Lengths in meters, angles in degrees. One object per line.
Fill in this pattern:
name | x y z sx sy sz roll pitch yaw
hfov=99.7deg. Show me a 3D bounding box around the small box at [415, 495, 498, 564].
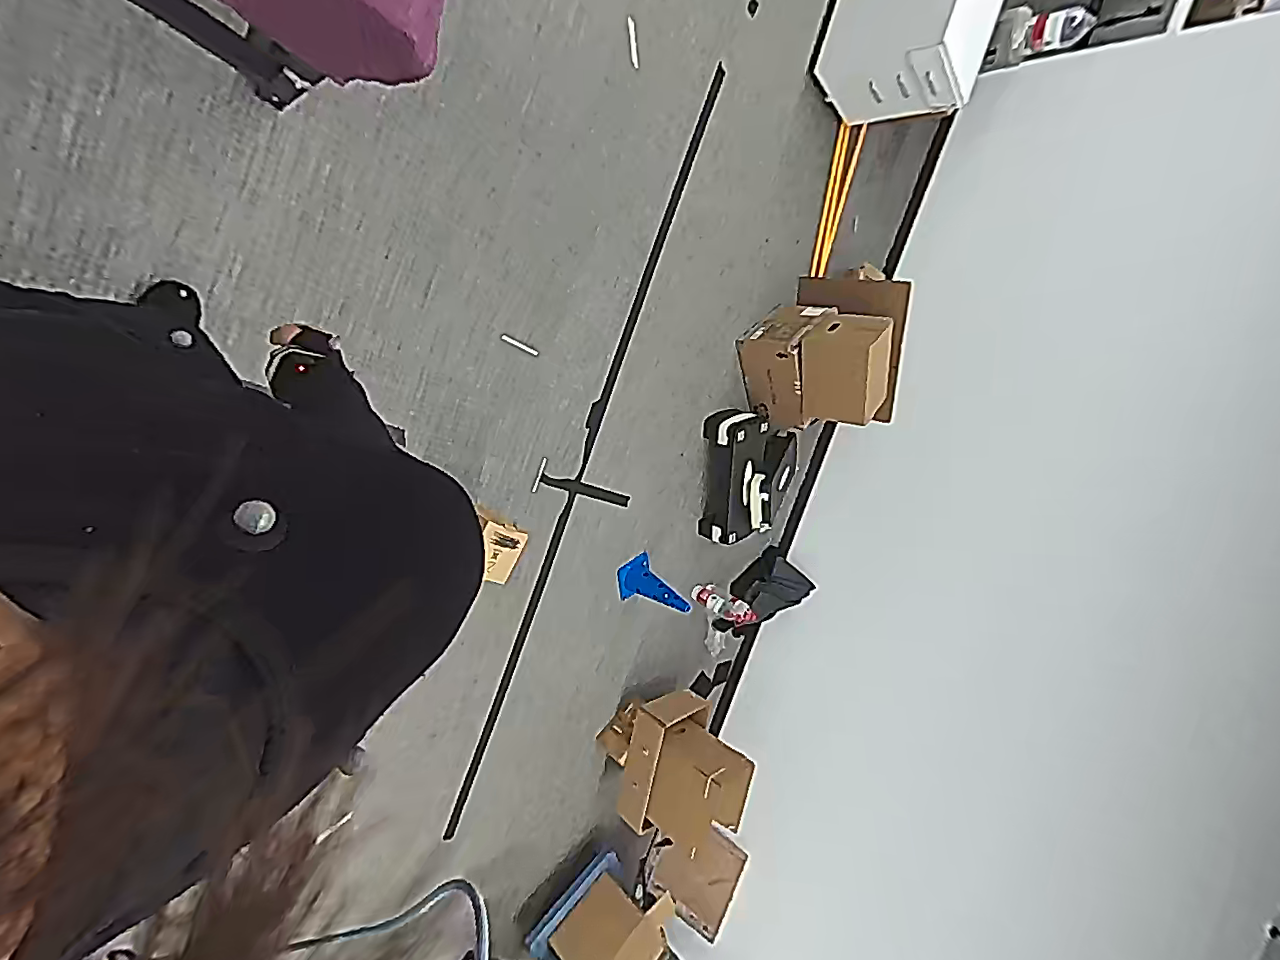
small box | -0.611 0.160 1.790 0.179 0.176 0.168 23 89 -49
